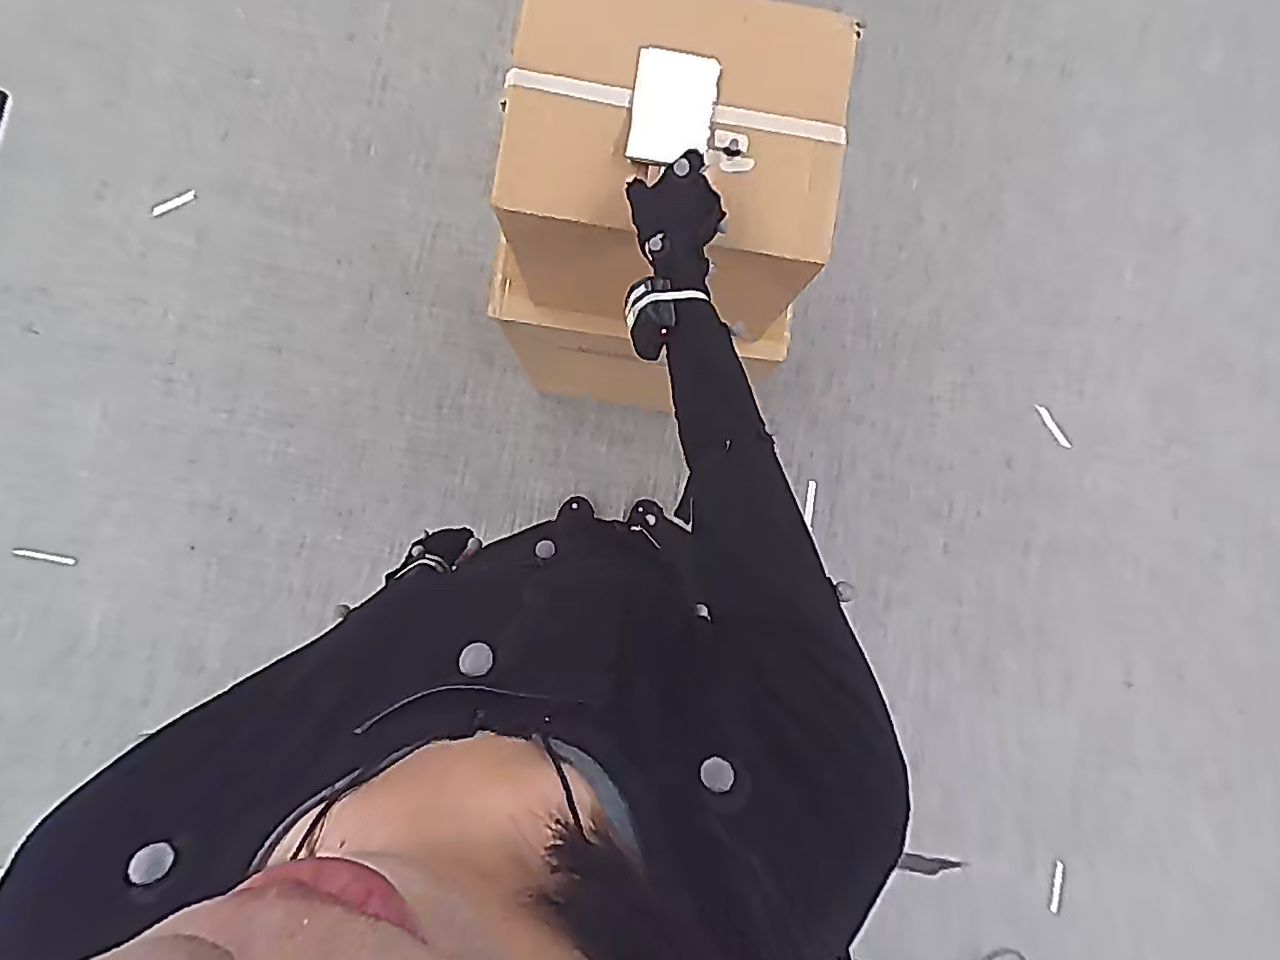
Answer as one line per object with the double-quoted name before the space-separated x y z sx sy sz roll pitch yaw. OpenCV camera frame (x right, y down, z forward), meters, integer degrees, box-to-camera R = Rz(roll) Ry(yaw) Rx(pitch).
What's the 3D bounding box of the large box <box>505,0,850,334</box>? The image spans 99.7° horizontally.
"large box" 0.040 -0.439 0.810 0.408 0.320 0.320 8 87 -4
